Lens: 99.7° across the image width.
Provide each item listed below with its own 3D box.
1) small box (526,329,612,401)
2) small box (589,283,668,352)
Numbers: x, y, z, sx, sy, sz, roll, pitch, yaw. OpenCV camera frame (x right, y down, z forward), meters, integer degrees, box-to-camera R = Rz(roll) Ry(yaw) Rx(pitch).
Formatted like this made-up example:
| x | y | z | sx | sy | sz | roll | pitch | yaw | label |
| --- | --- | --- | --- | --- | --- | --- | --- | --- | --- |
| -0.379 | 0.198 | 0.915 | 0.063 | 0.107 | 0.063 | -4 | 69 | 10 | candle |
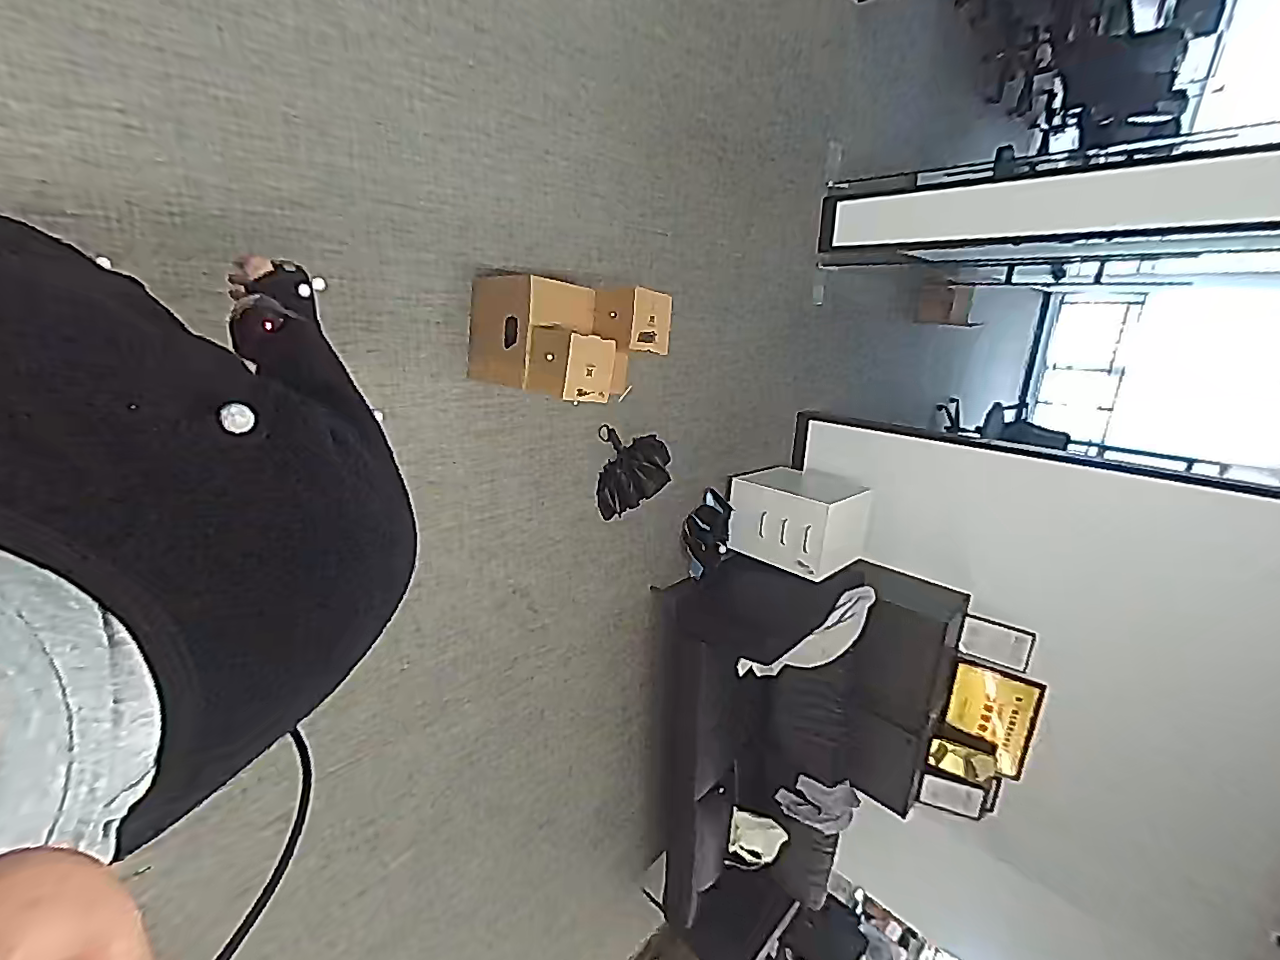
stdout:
| x | y | z | sx | sy | sz | roll | pitch | yaw | label |
| --- | --- | --- | --- | --- | --- | --- | --- | --- | --- |
| -0.199 | -0.321 | 1.503 | 0.168 | 0.176 | 0.179 | -6 | 108 | -48 | small box |
| -0.039 | -0.484 | 1.631 | 0.168 | 0.176 | 0.179 | -6 | 103 | -48 | small box |
